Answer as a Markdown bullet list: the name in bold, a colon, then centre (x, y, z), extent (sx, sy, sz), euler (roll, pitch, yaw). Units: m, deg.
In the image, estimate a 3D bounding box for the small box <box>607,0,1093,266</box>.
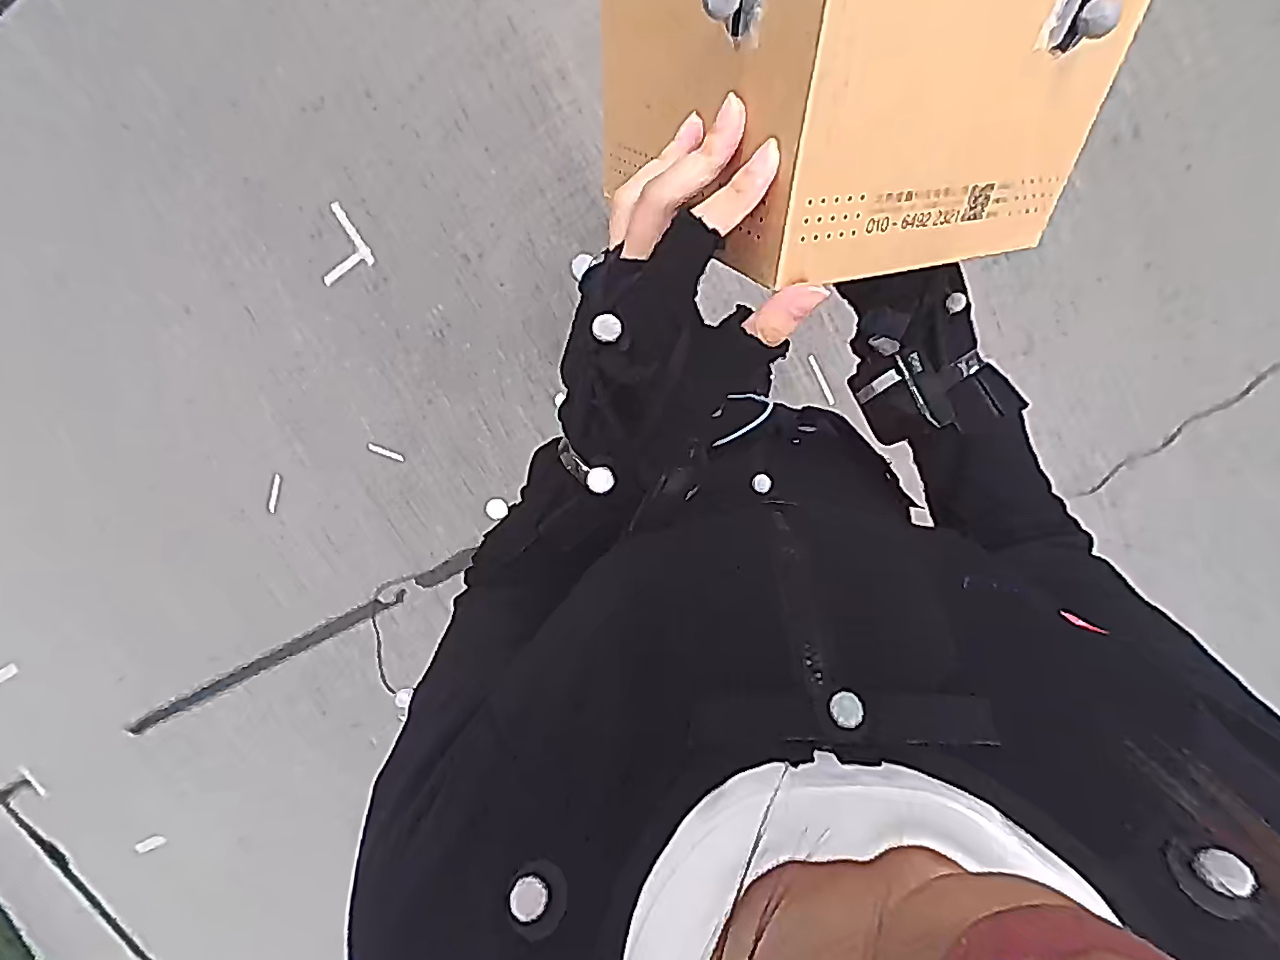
- **small box**: centre (0.090, -0.215, 0.269), extent (0.168, 0.179, 0.176), euler (-16, 132, -20)
